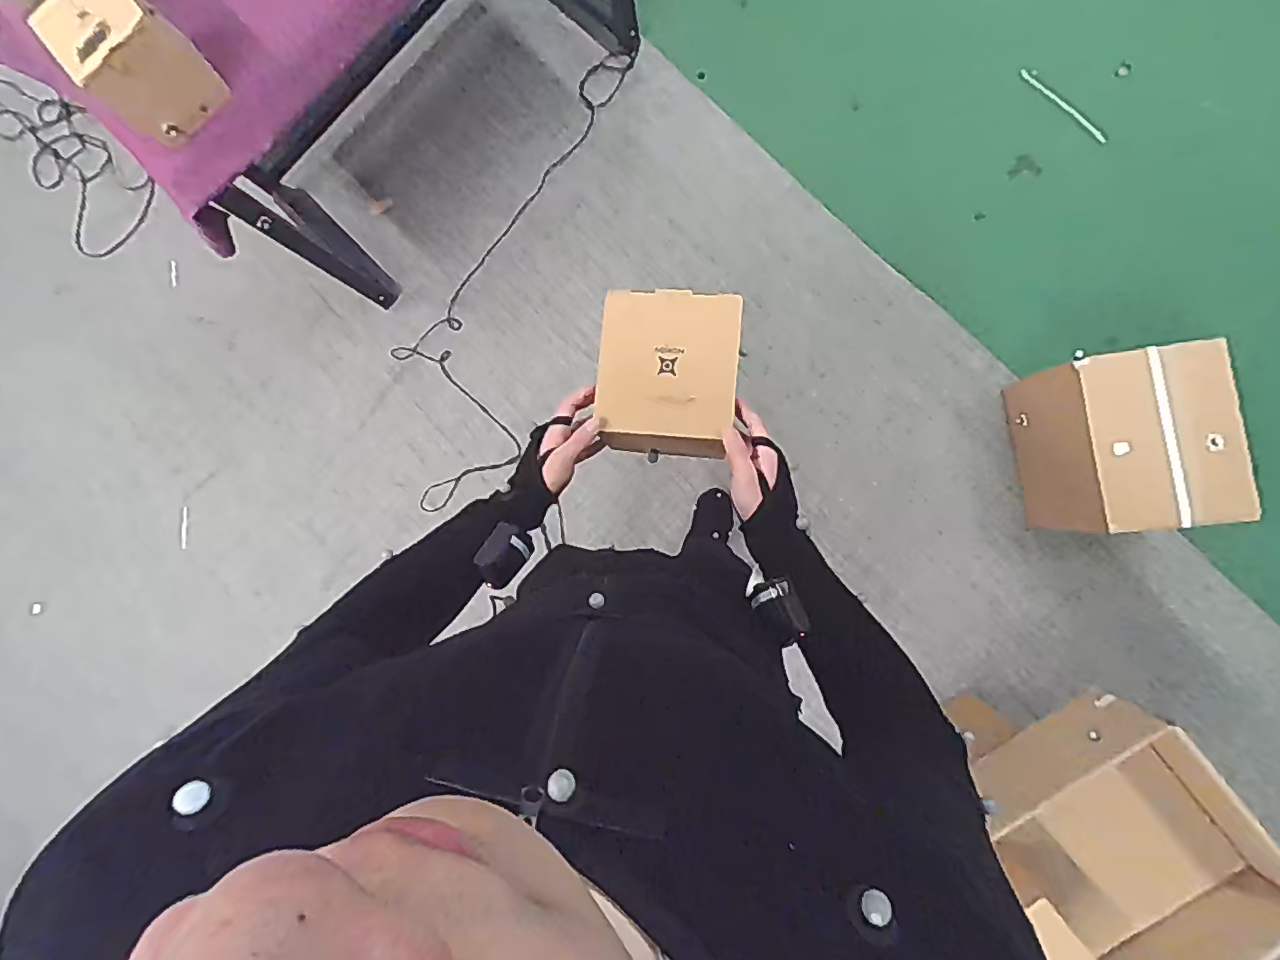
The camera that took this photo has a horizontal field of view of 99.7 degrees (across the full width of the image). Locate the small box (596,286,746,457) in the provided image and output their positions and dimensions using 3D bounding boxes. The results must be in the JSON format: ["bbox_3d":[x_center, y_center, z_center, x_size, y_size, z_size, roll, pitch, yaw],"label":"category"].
[{"bbox_3d":[0.043,-0.132,0.710,0.168,0.176,0.179,4,86,6],"label":"small box"}]

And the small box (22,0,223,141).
[{"bbox_3d":[-0.911,-0.755,0.969,0.168,0.176,0.179,-42,82,3],"label":"small box"}]
